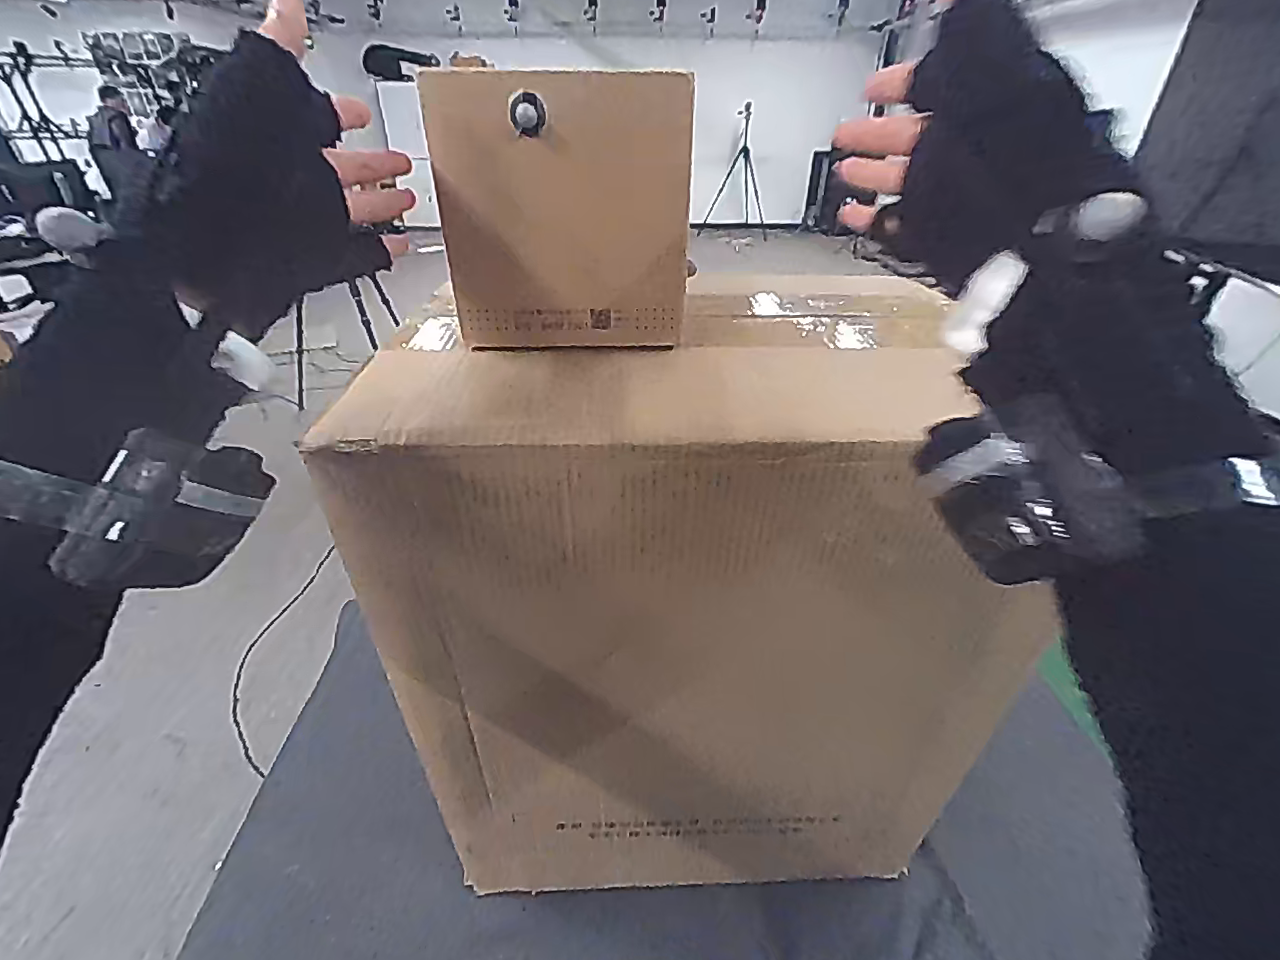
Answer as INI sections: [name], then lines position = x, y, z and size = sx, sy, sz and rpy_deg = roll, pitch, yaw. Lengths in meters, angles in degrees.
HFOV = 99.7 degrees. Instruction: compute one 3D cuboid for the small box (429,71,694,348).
[small box]
position = -0.050, -0.216, 0.440
size = 0.168, 0.176, 0.179
rpy_deg = -1, 32, -1
